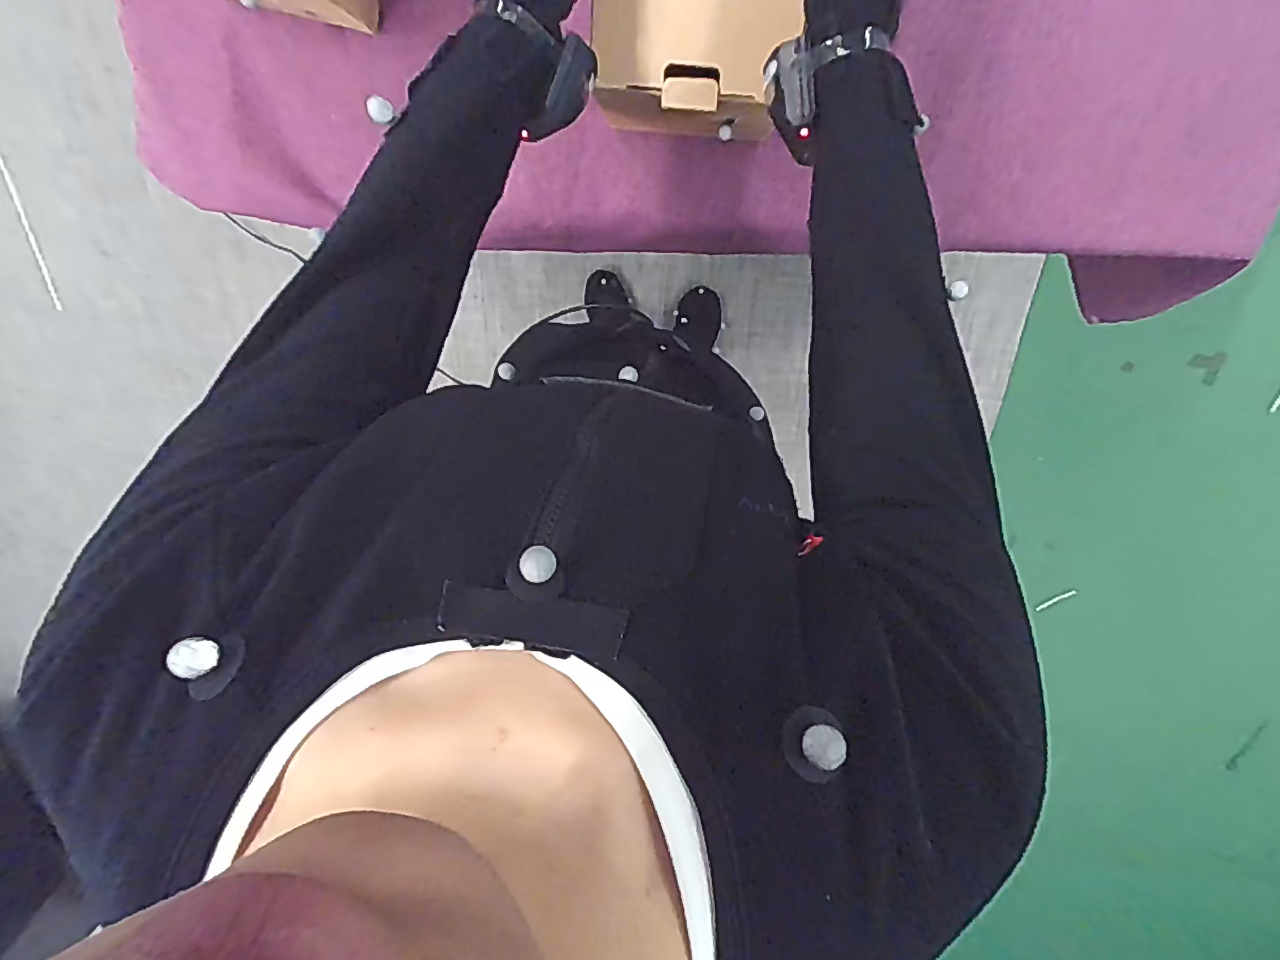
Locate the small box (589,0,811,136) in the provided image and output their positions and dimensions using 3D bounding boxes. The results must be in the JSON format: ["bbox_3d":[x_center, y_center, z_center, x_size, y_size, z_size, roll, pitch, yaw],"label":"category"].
[{"bbox_3d":[0.055,-0.414,0.465,0.168,0.176,0.179,6,113,1],"label":"small box"}]

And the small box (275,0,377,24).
[{"bbox_3d":[-0.334,-0.523,0.447,0.168,0.176,0.179,13,115,-2],"label":"small box"}]
